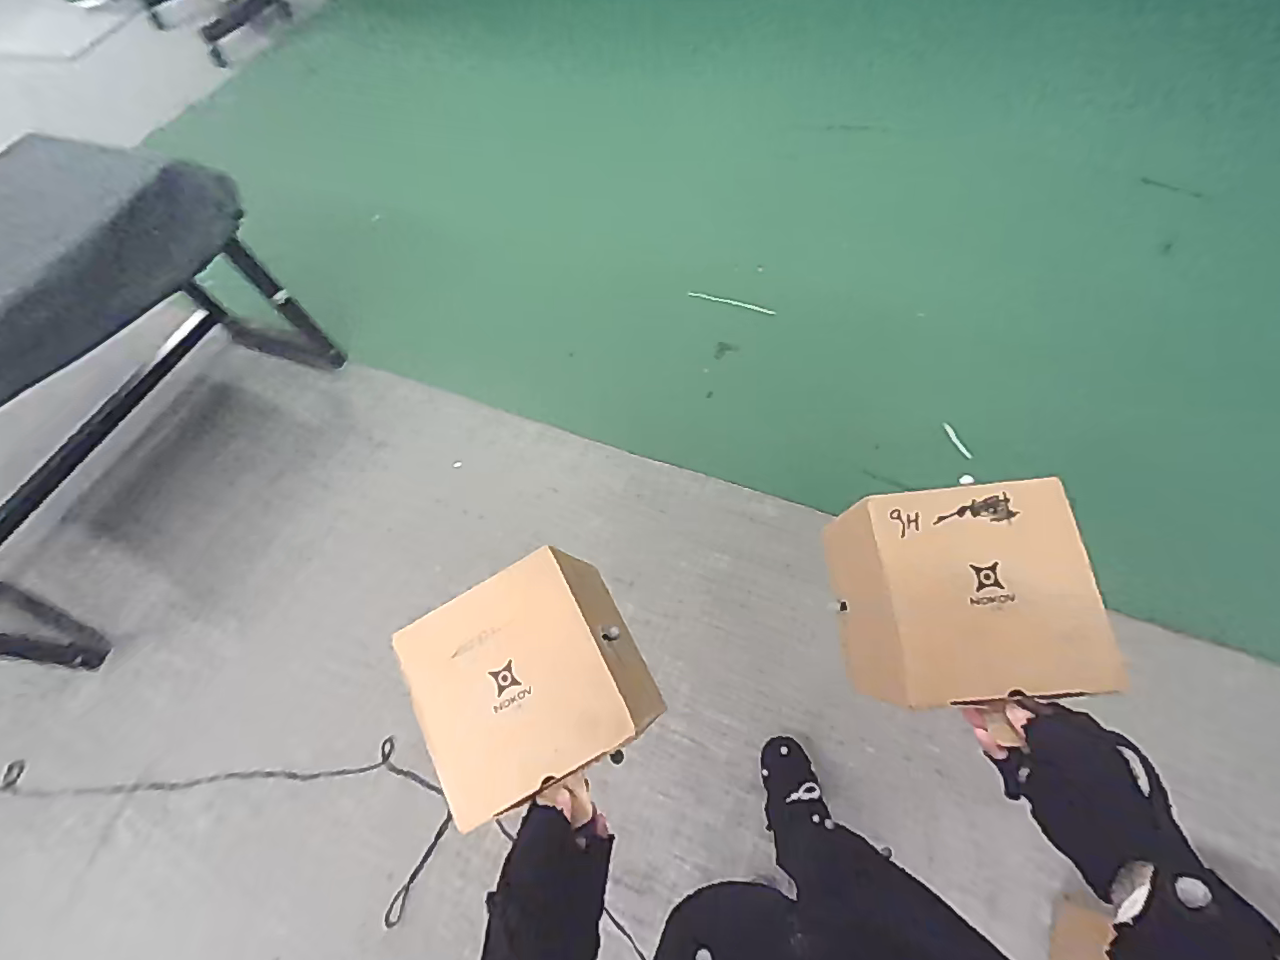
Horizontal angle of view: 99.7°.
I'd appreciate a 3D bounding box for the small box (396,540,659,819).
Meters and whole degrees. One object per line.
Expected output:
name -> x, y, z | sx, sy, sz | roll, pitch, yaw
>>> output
small box -> -0.096, 0.184, 0.534 | 0.168, 0.176, 0.179 | -31, 70, 0
